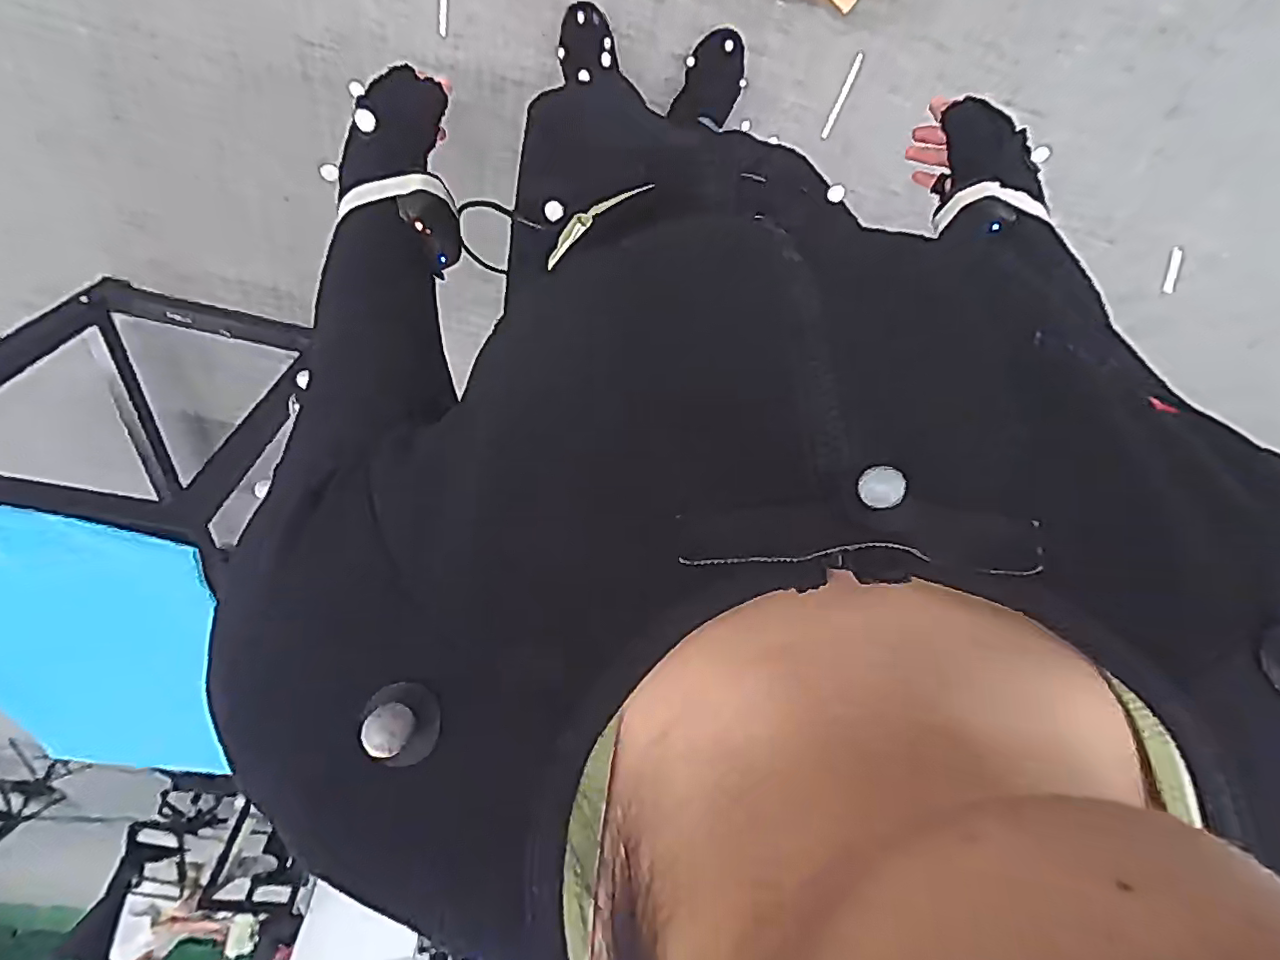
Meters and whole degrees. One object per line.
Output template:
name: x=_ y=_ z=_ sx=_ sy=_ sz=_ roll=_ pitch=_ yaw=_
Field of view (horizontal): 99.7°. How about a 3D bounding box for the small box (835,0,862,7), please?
small box: x=0.330 y=-0.927 z=0.885 sx=0.179 sy=0.176 sz=0.168 roll=23 pitch=129 yaw=-23
